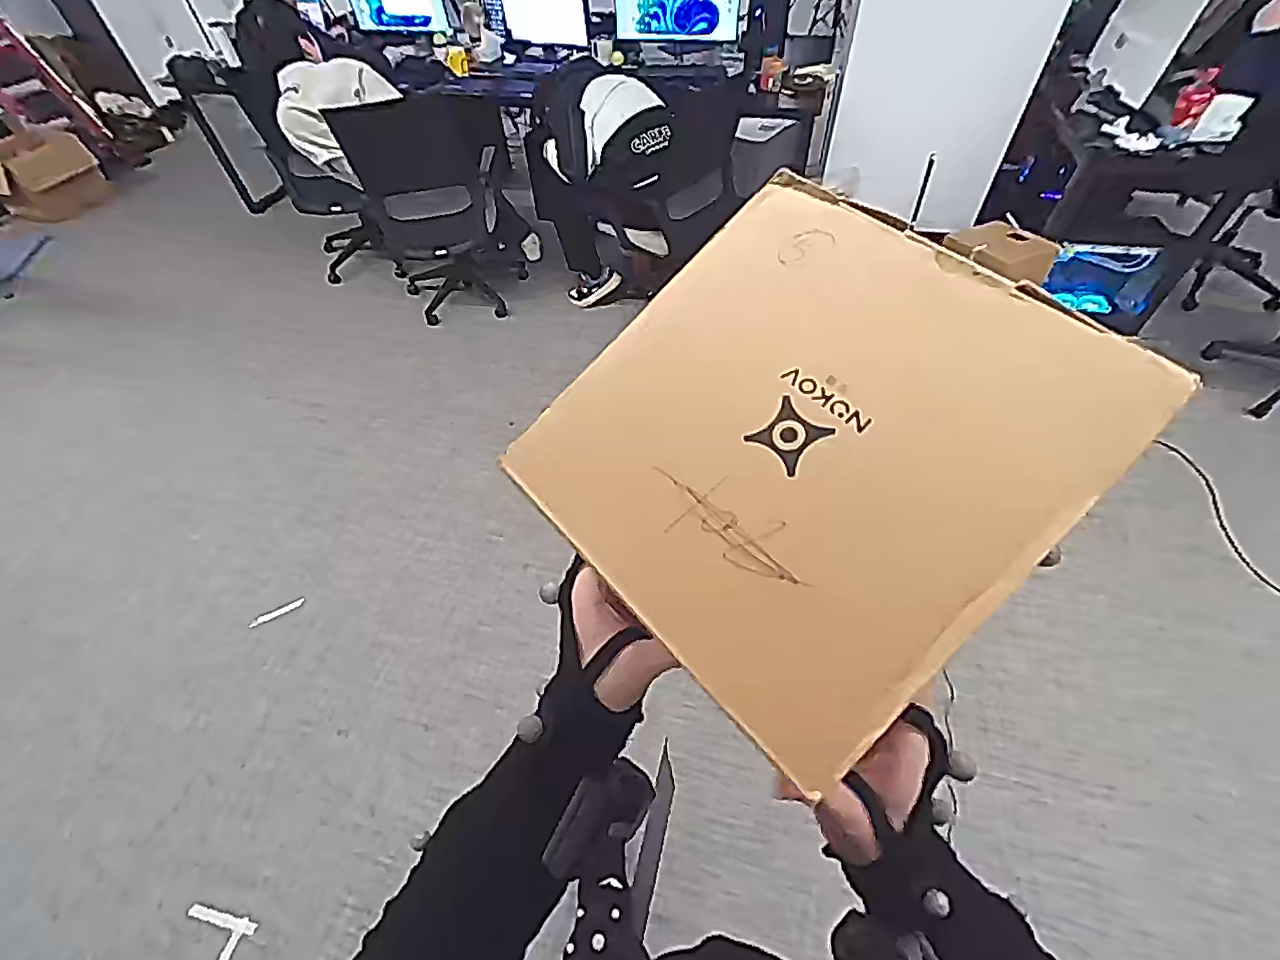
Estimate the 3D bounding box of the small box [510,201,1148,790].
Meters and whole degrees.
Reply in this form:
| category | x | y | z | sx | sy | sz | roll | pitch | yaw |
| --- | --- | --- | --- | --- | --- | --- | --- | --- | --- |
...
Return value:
| category | x | y | z | sx | sy | sz | roll | pitch | yaw |
| --- | --- | --- | --- | --- | --- | --- | --- | --- | --- |
| small box | 0.076 | 0.011 | 0.278 | 0.179 | 0.176 | 0.168 | -46 | 65 | -1 |
